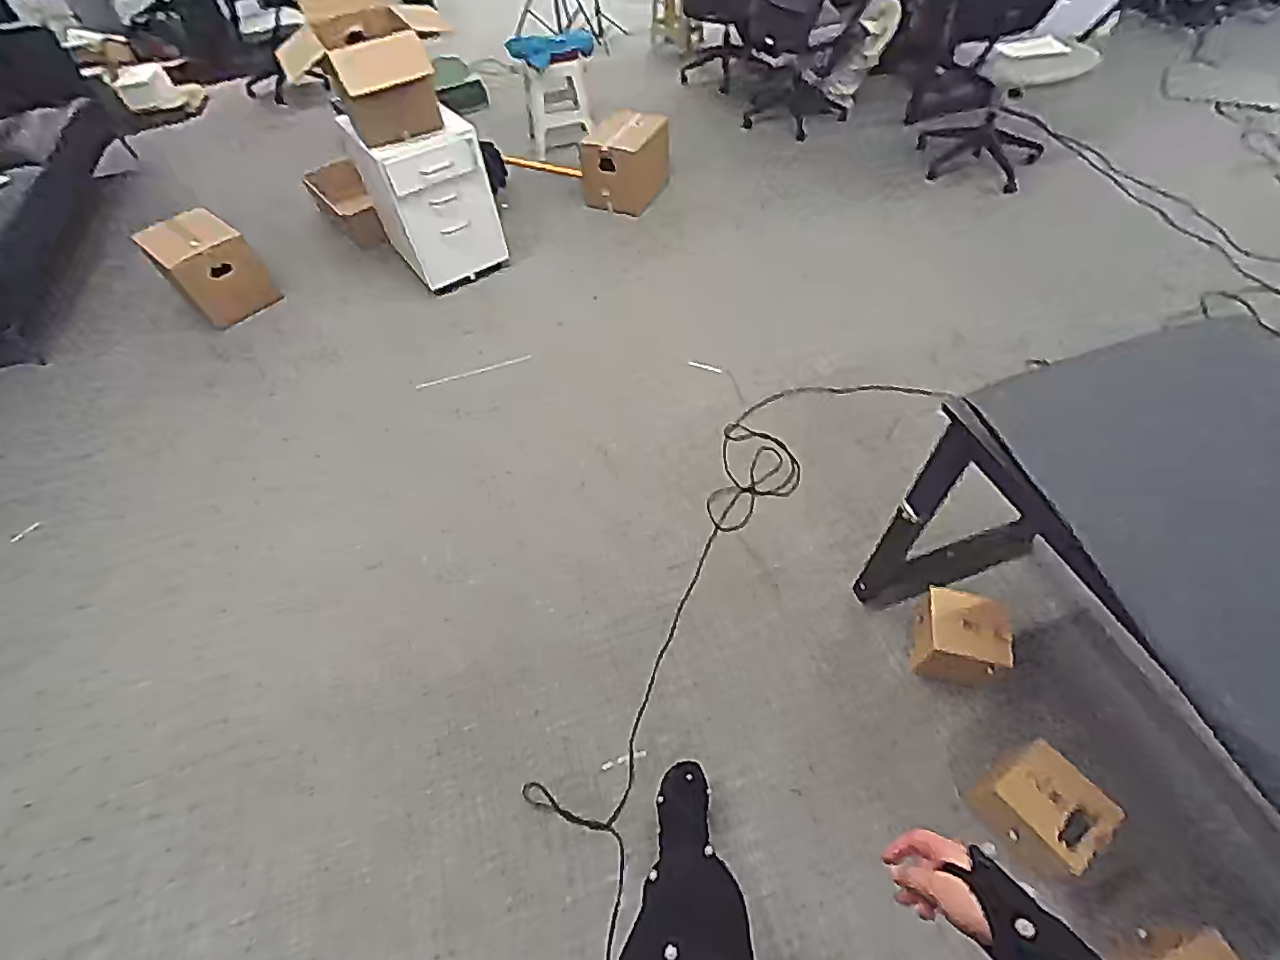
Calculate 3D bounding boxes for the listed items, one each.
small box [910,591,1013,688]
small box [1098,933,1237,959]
[{"bbox_3d":[0.789,0.402,1.350,0.179,0.176,0.168,11,54,11],"label":"small box"},{"bbox_3d":[0.959,0.925,0.941,0.168,0.176,0.179,-18,54,-8],"label":"small box"}]
